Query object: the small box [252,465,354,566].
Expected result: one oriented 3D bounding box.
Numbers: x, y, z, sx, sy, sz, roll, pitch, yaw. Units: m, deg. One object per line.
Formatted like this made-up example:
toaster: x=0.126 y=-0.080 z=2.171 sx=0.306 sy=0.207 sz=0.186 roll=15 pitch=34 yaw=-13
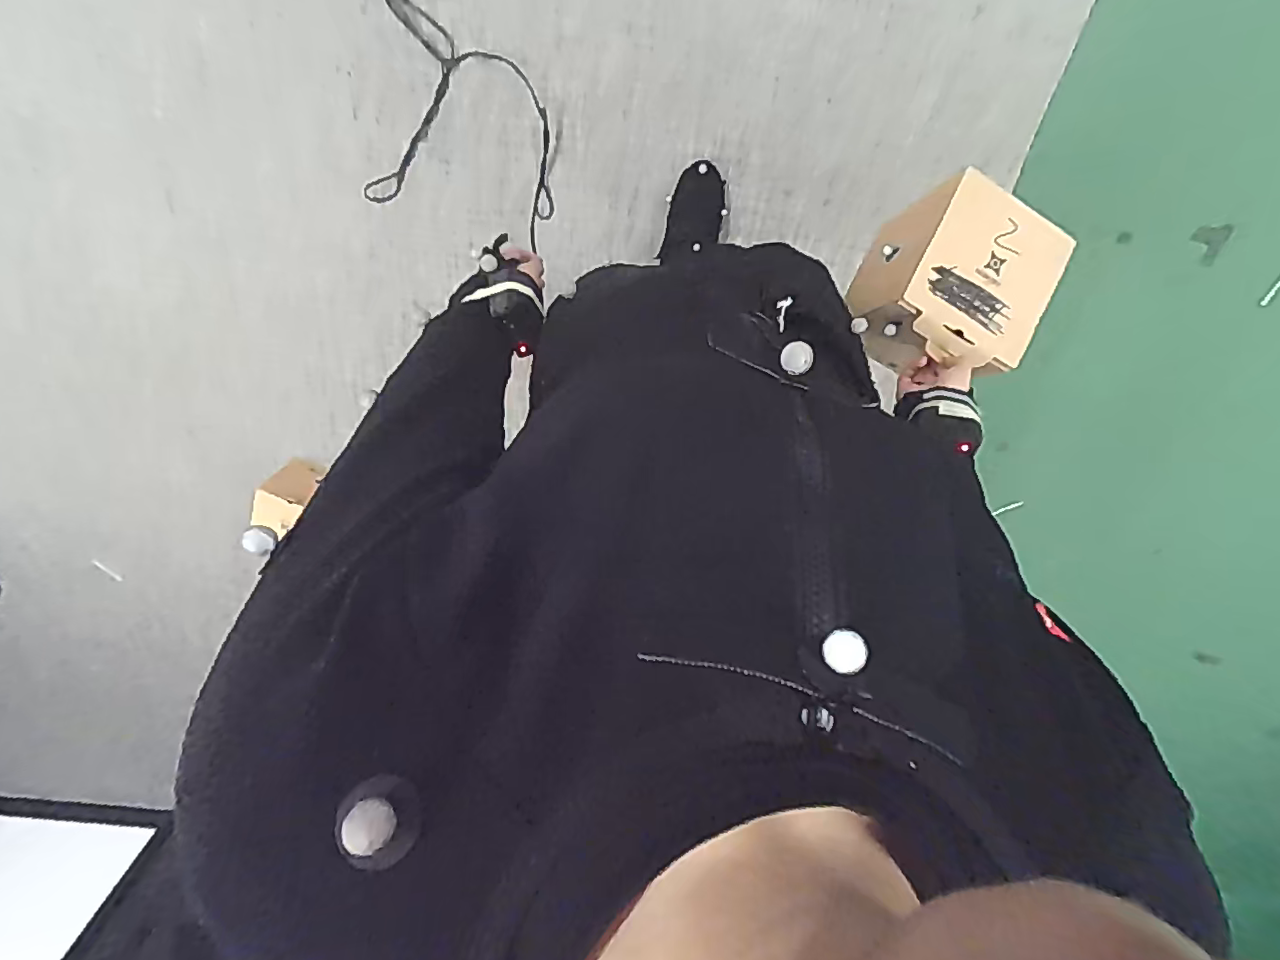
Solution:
small box: x=-0.905 y=0.093 z=1.463 sx=0.168 sy=0.176 sz=0.179 roll=24 pitch=118 yaw=-11
